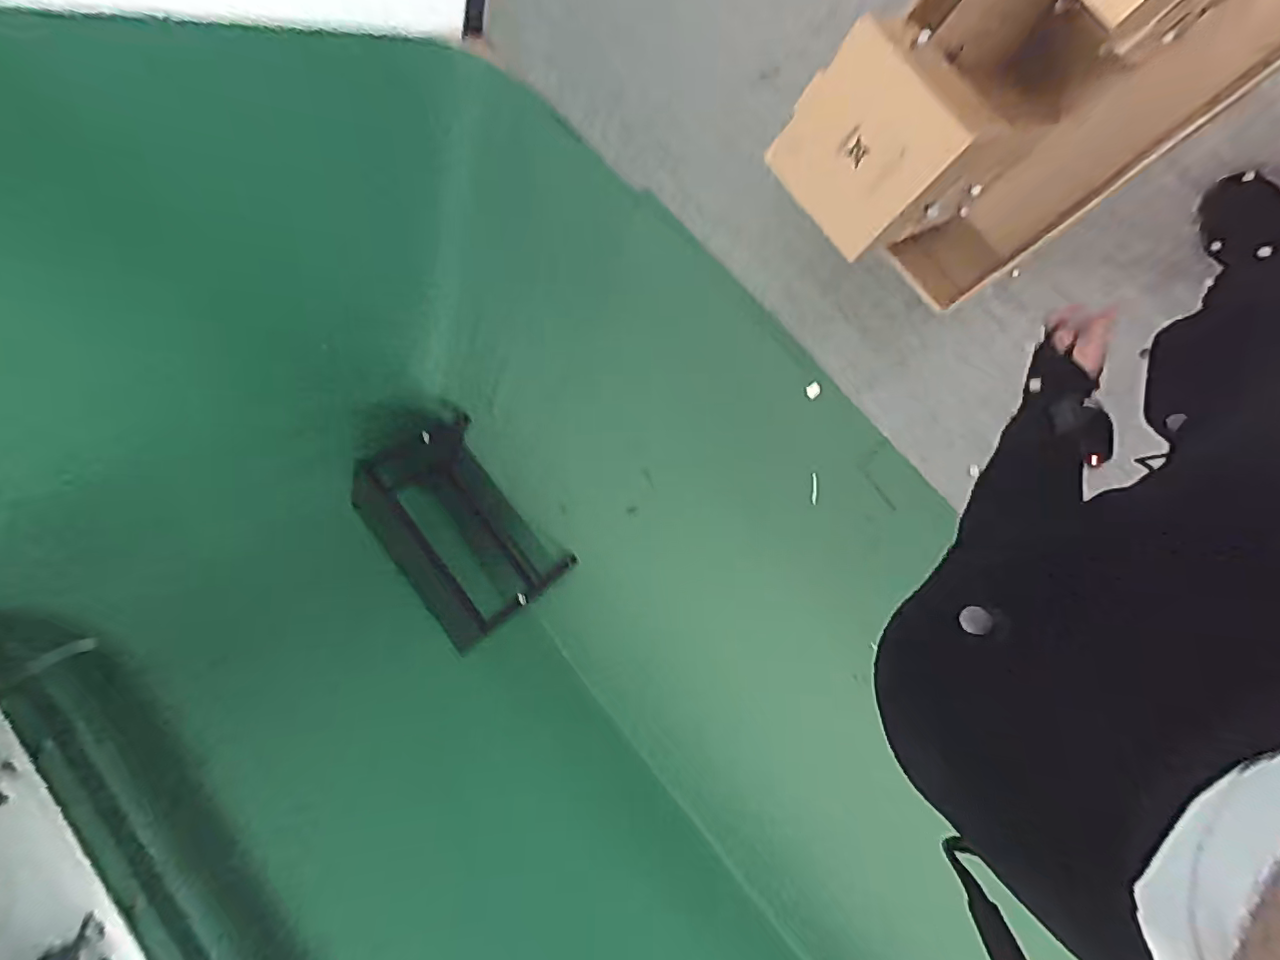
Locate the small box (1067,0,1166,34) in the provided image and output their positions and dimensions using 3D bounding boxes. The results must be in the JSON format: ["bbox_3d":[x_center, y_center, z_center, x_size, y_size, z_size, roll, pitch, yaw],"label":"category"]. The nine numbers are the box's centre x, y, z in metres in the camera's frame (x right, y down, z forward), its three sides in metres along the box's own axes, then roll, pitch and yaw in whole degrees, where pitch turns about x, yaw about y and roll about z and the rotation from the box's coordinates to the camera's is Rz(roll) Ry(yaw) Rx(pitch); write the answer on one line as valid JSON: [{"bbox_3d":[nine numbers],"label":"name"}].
[{"bbox_3d":[0.419,-0.511,0.444,0.179,0.176,0.168,53,141,4],"label":"small box"}]

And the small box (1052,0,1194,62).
[{"bbox_3d":[0.524,-0.574,0.554,0.179,0.176,0.168,53,141,4],"label":"small box"}]

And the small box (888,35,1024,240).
[{"bbox_3d":[0.391,-0.472,0.759,0.179,0.176,0.168,52,142,6],"label":"small box"}]

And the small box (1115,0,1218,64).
[{"bbox_3d":[0.631,-0.644,0.657,0.179,0.176,0.168,52,141,4],"label":"small box"}]

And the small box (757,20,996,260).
[{"bbox_3d":[0.286,-0.402,0.656,0.179,0.176,0.168,52,142,5],"label":"small box"}]
